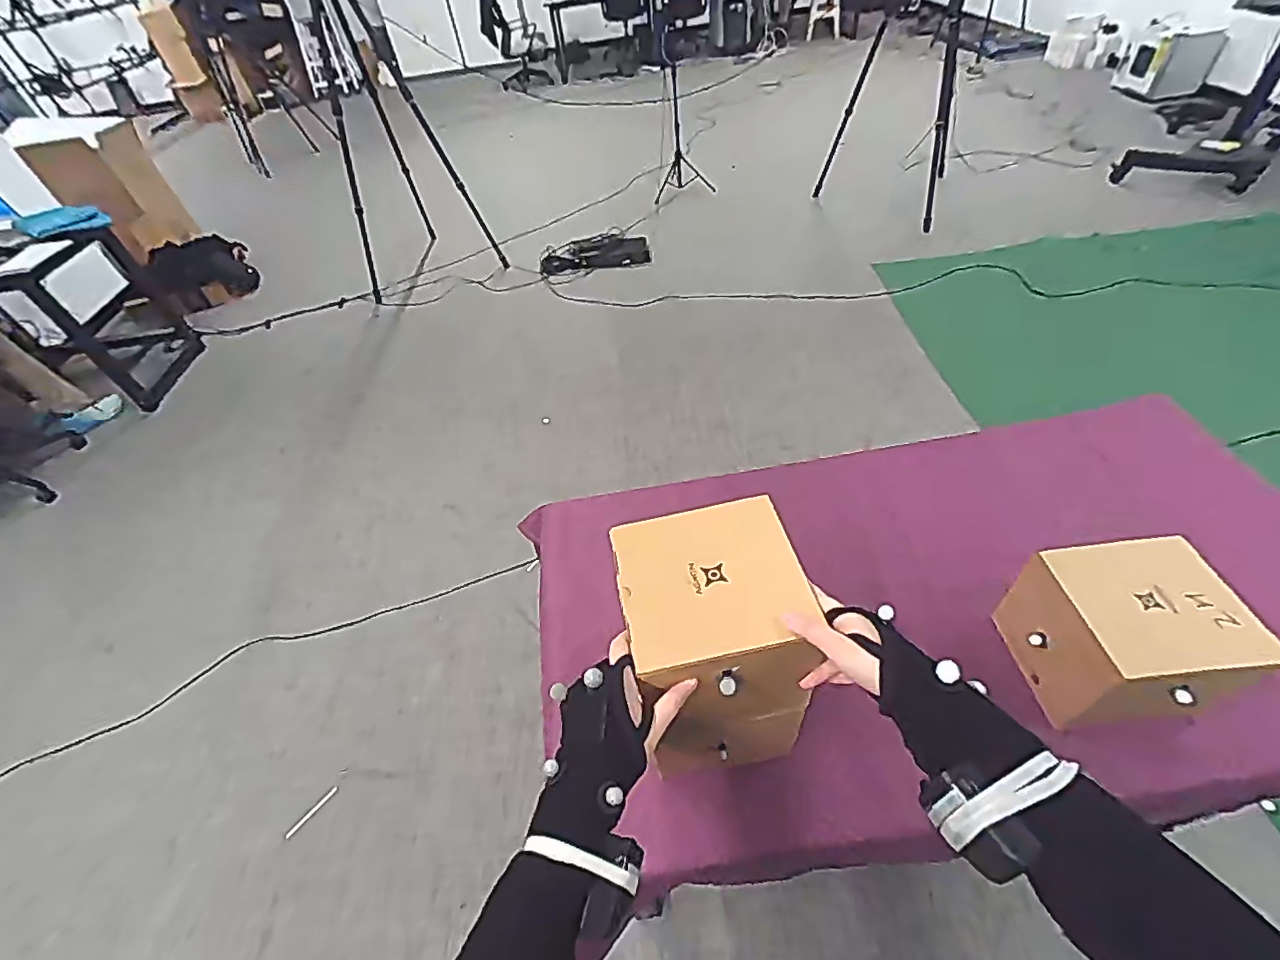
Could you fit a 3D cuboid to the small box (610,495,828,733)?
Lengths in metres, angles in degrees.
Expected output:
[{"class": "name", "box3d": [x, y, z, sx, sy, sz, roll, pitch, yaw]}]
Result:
[{"class": "small box", "box3d": [0.075, 0.145, 0.573, 0.179, 0.176, 0.168, -13, 47, -1]}]

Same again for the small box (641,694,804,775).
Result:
[{"class": "small box", "box3d": [0.090, 0.255, 0.691, 0.179, 0.176, 0.168, -12, 47, 0]}]

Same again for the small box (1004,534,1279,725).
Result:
[{"class": "small box", "box3d": [0.592, 0.190, 0.670, 0.179, 0.176, 0.168, -7, 48, 3]}]
